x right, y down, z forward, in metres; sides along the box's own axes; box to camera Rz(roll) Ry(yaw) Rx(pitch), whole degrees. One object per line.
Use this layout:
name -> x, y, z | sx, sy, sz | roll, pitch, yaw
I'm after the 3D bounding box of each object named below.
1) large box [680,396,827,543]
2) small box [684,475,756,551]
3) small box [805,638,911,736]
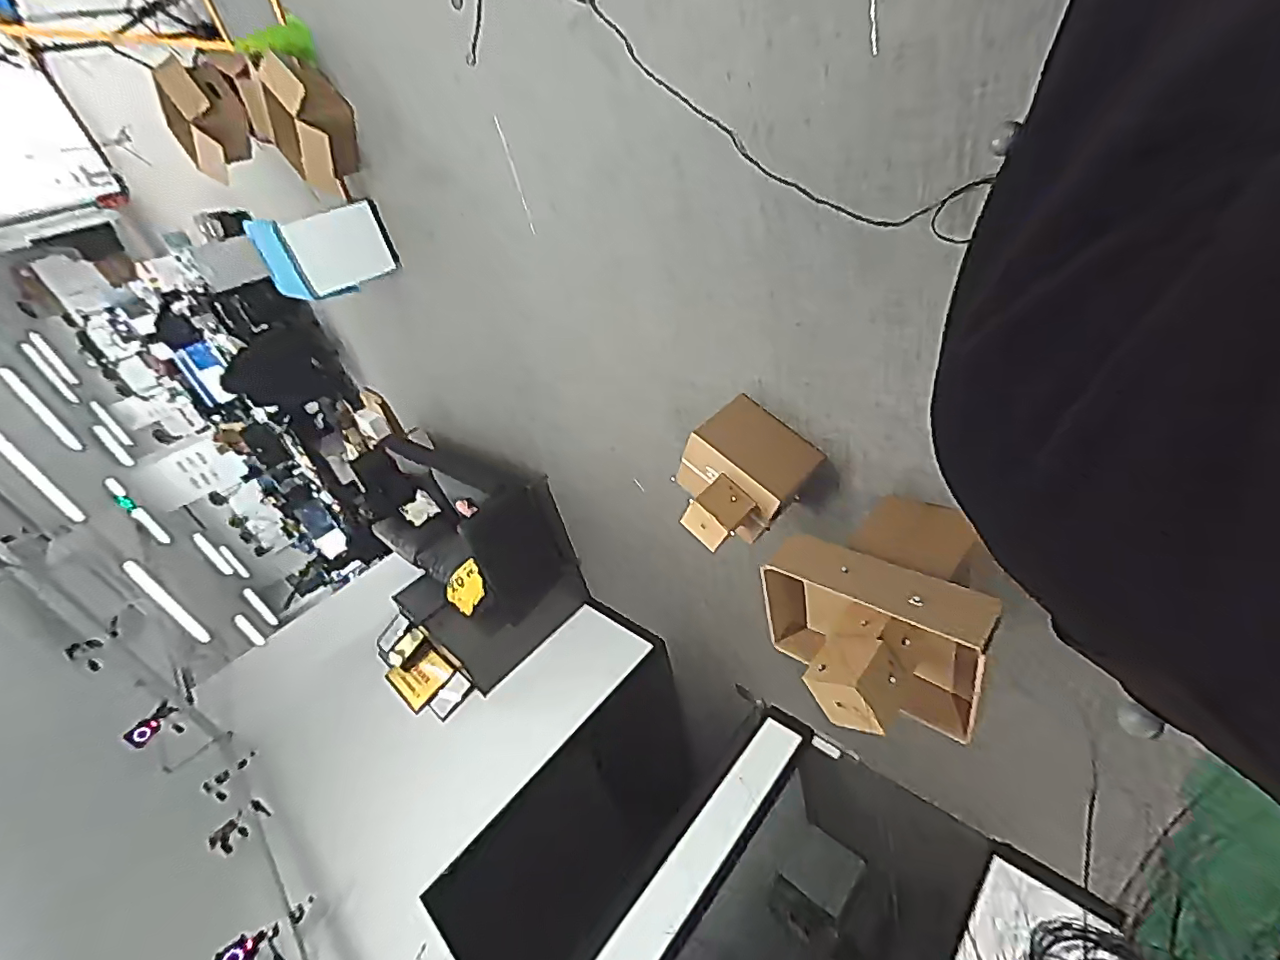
large box -> 0.423, -0.044, 2.064 | 0.408, 0.320, 0.320 | 42, 148, 19
small box -> 0.288, 0.118, 1.935 | 0.168, 0.176, 0.179 | 43, 149, 14
small box -> 0.587, 0.545, 1.453 | 0.168, 0.176, 0.179 | 56, 148, -9
